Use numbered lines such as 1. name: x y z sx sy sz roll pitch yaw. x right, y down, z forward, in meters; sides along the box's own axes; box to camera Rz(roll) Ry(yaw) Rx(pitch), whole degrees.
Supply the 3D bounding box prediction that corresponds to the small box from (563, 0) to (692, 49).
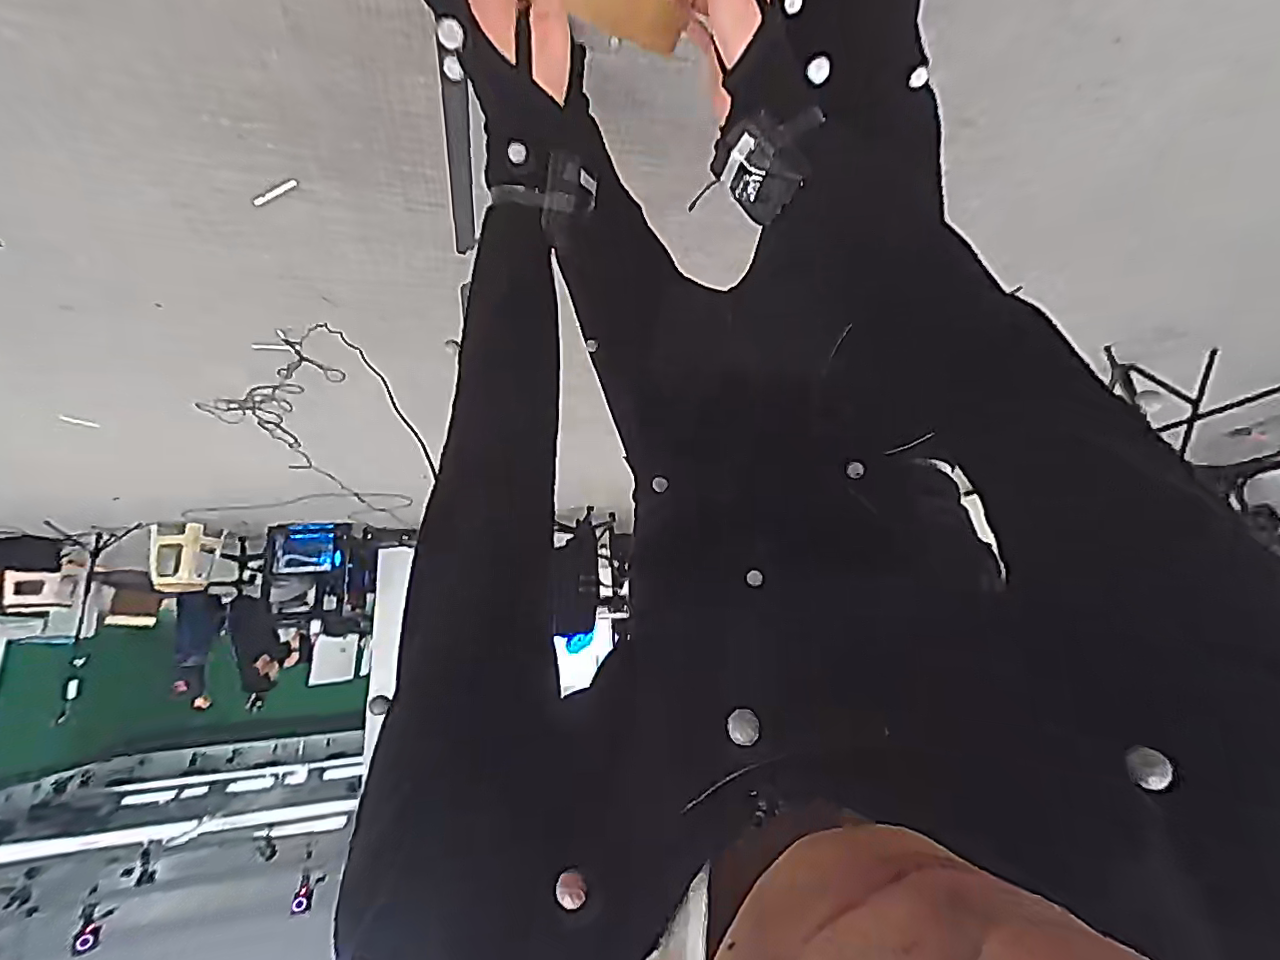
1. small box: -0.044 -0.468 0.390 0.179 0.176 0.168 -13 152 -39
